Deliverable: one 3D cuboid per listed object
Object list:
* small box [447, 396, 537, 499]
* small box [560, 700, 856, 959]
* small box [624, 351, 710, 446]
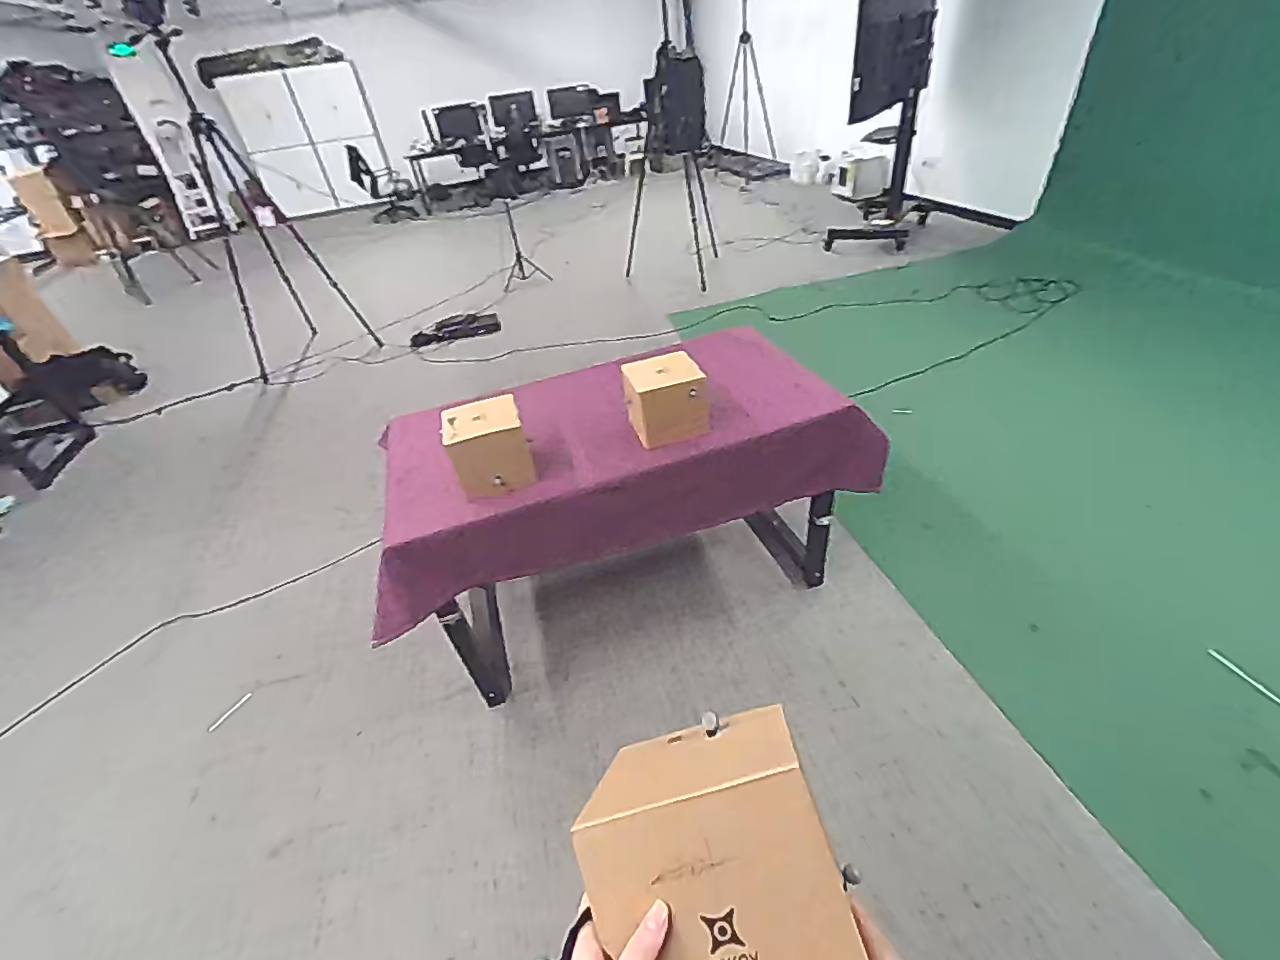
[{"bbox_3d":[-0.356,-0.079,1.316,0.179,0.176,0.168,-15,38,-9],"label":"small box"},{"bbox_3d":[0.060,0.301,0.429,0.168,0.176,0.179,-20,79,7],"label":"small box"},{"bbox_3d":[0.070,-0.207,1.393,0.179,0.176,0.168,-15,38,-8],"label":"small box"}]
